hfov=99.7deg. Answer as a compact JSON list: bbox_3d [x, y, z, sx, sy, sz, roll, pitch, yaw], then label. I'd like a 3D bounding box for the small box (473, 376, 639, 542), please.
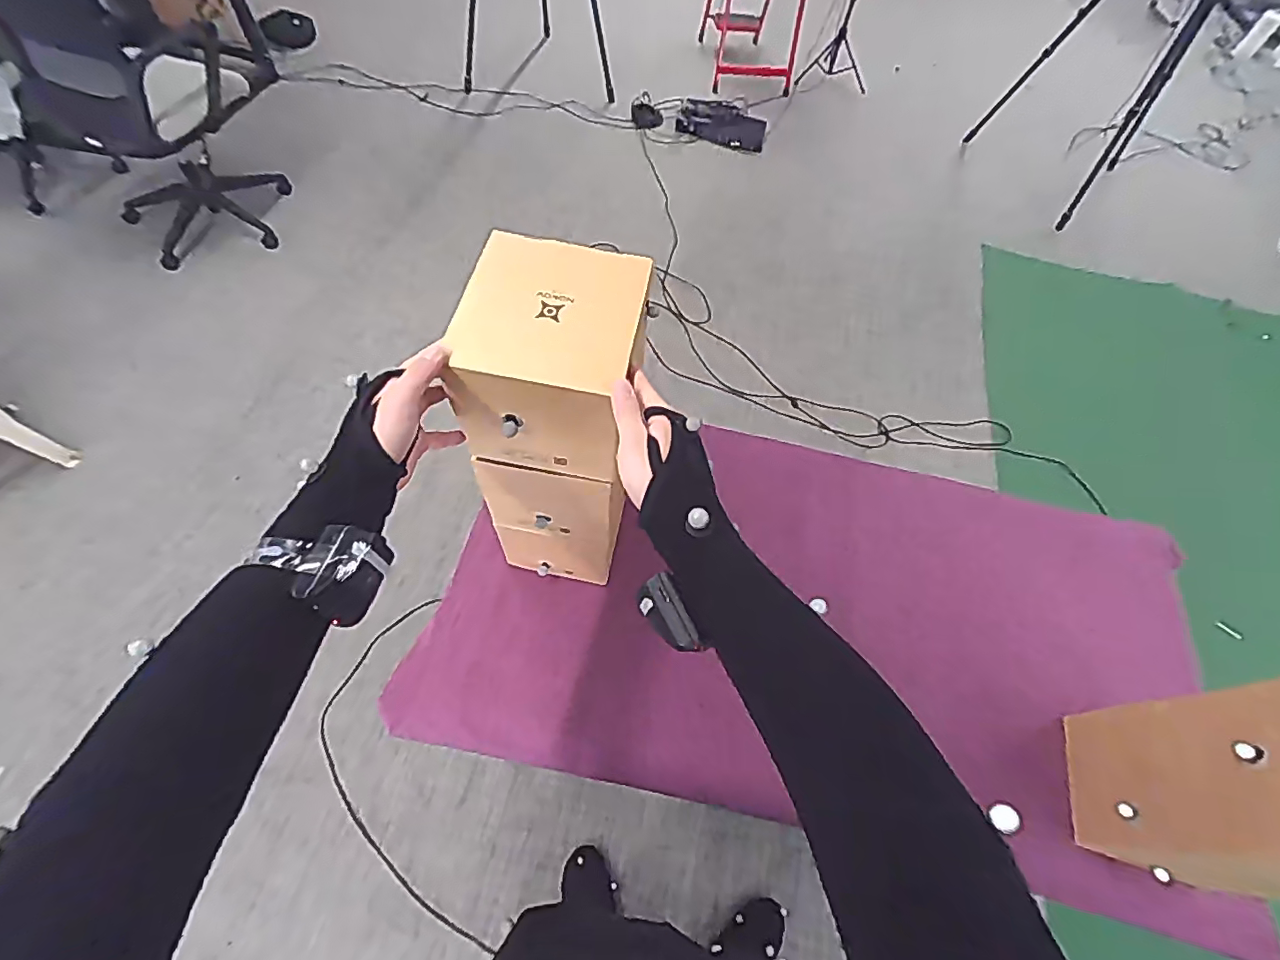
[{"bbox_3d":[-0.102,-0.041,0.720,0.168,0.176,0.179,11,60,2],"label":"small box"}]

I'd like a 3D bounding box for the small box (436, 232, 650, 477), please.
[{"bbox_3d":[-0.087,-0.123,0.570,0.168,0.176,0.179,10,62,1],"label":"small box"}]

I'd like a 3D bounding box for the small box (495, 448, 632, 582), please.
[{"bbox_3d":[-0.114,0.041,0.862,0.168,0.176,0.179,11,61,2],"label":"small box"}]
